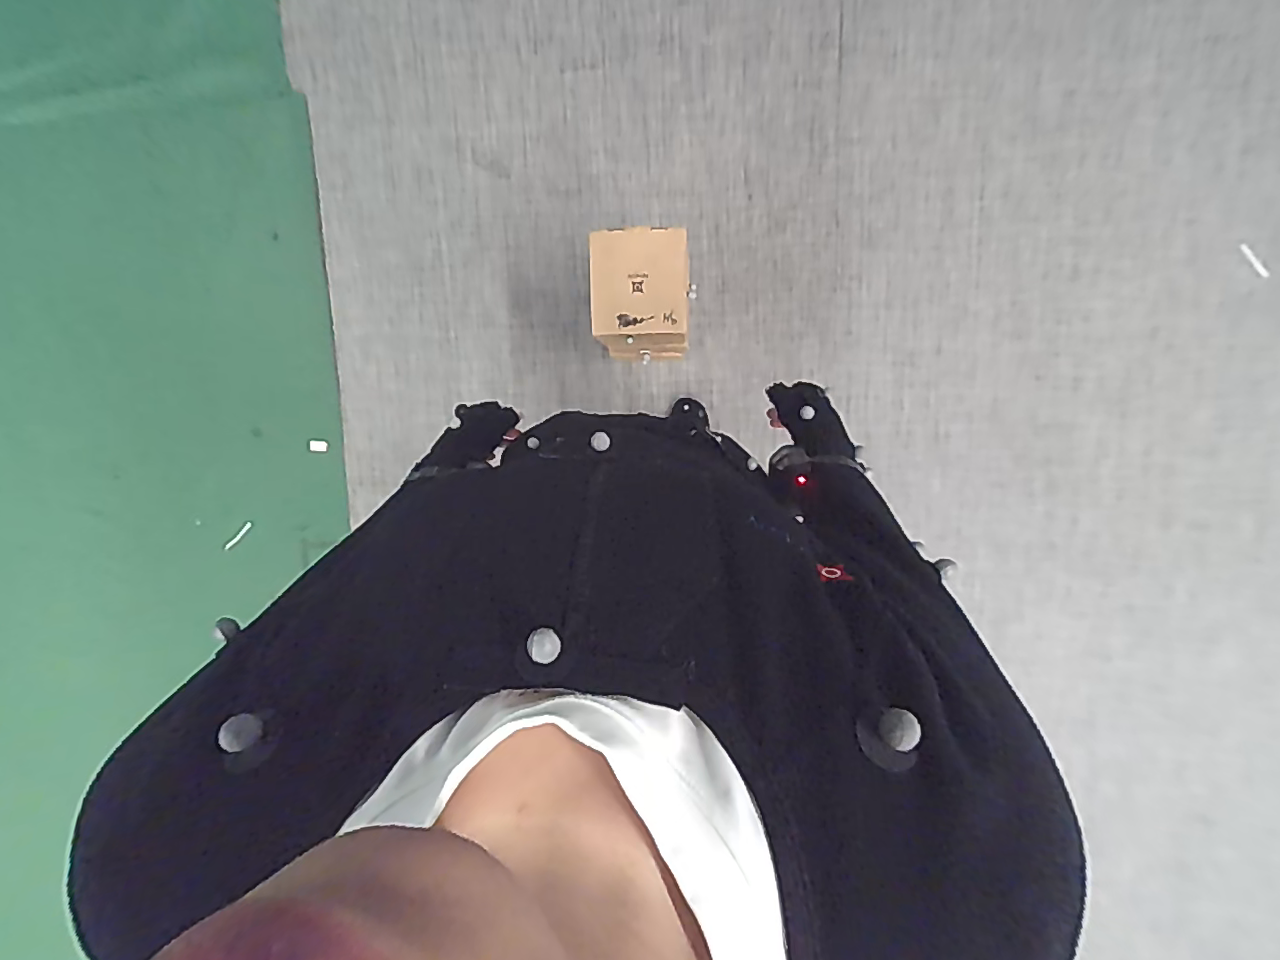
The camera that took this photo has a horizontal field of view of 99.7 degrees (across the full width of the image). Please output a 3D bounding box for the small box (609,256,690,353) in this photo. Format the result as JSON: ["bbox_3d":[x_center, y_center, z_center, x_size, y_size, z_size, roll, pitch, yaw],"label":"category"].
[{"bbox_3d":[0.024,-0.372,1.166,0.168,0.176,0.179,0,99,6],"label":"small box"}]

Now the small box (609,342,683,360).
[{"bbox_3d":[0.021,-0.386,1.327,0.179,0.176,0.168,1,98,5],"label":"small box"}]

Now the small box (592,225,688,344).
[{"bbox_3d":[0.005,-0.353,1.003,0.168,0.176,0.179,0,97,5],"label":"small box"}]
